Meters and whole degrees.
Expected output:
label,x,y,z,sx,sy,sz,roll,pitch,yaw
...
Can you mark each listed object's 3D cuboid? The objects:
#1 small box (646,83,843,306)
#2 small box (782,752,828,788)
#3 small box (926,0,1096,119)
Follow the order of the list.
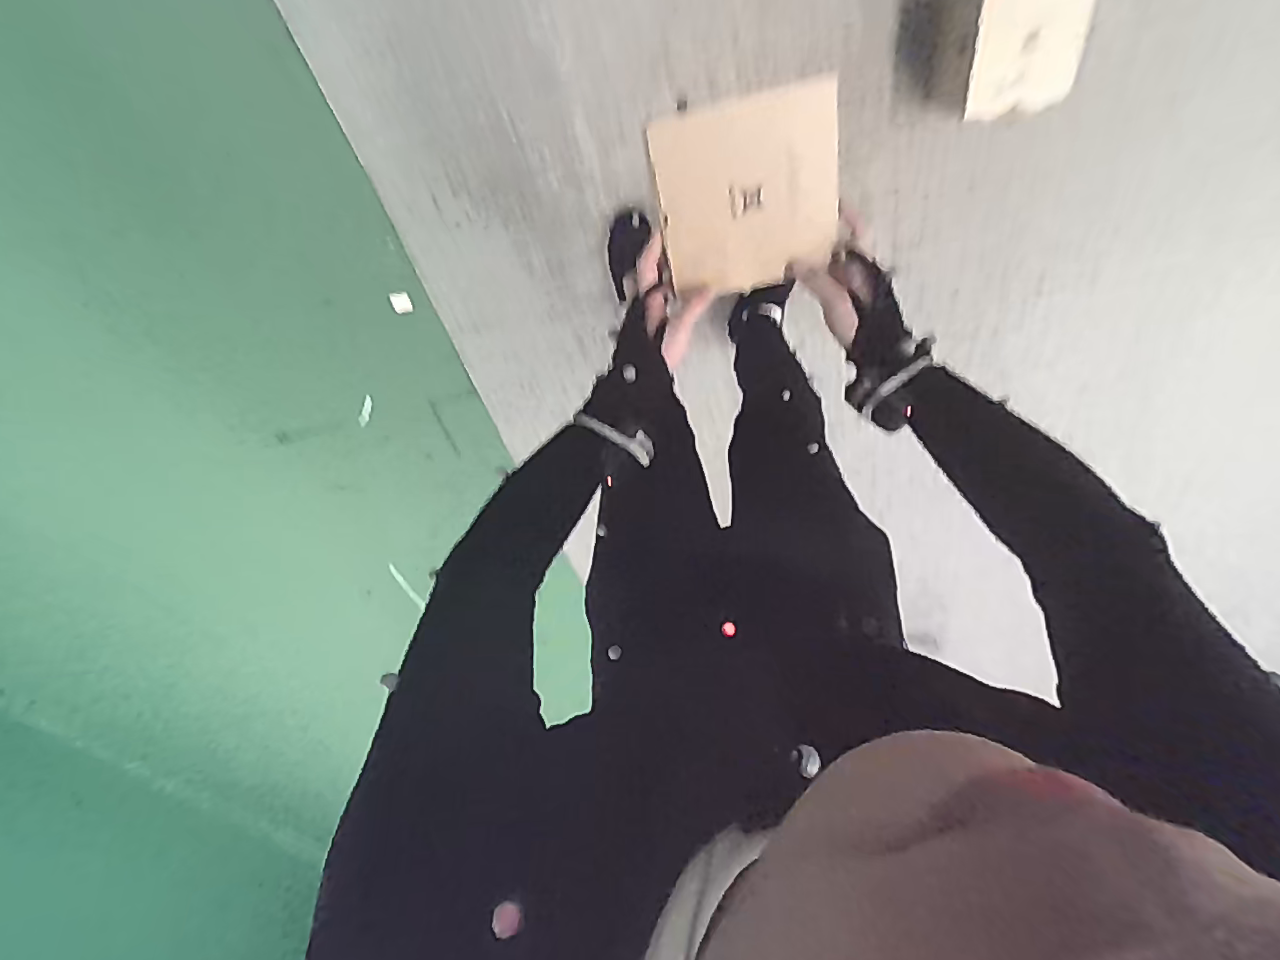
label,x,y,z,sx,sy,sz,roll,pitch,yaw
small box,0.106,-0.303,0.585,0.179,0.176,0.168,-10,121,5
small box,0.696,1.181,2.297,0.168,0.176,0.179,-8,130,9
small box,0.617,-0.736,0.925,0.168,0.176,0.179,0,131,5
